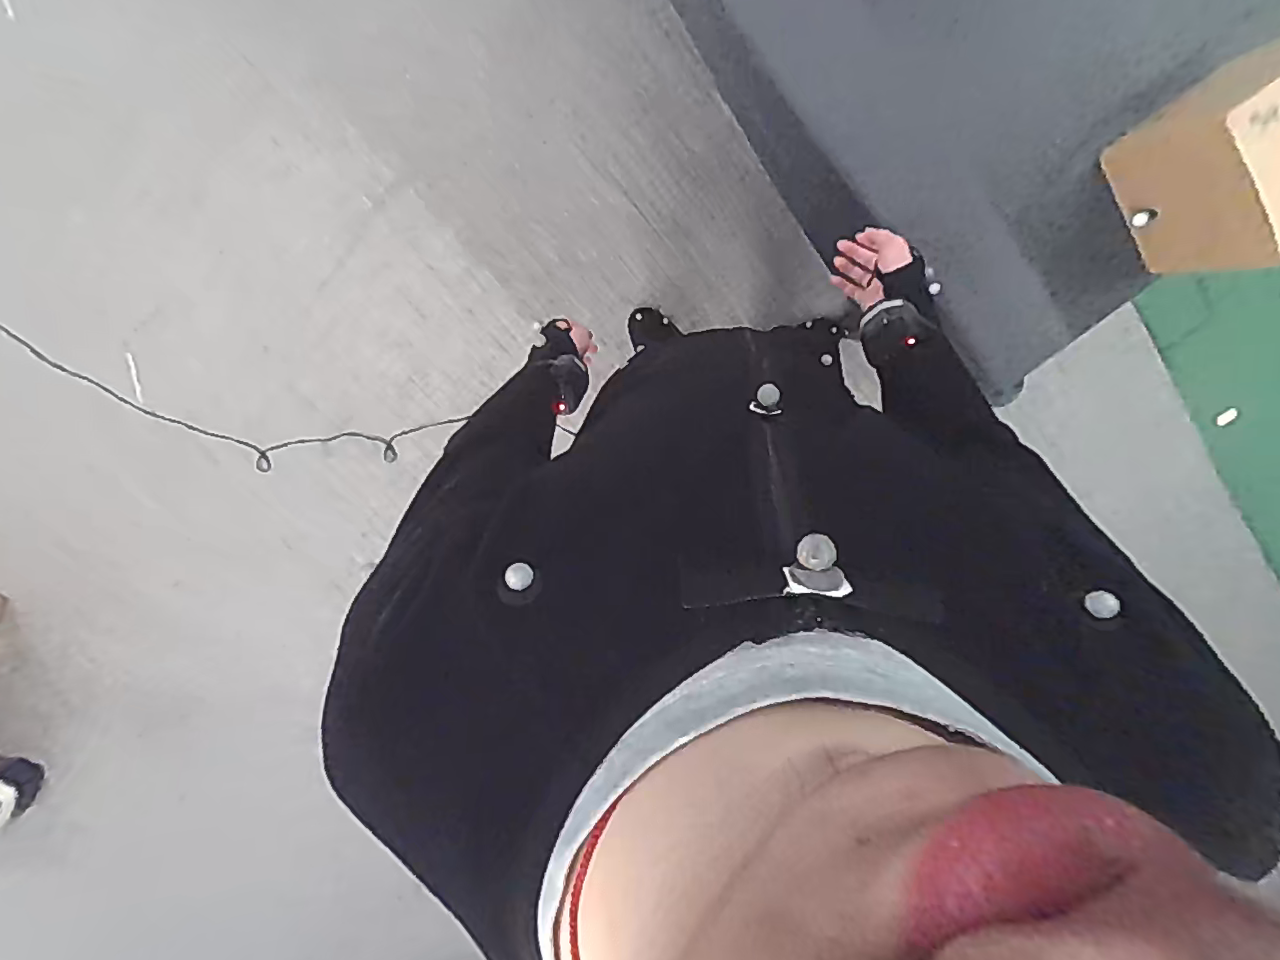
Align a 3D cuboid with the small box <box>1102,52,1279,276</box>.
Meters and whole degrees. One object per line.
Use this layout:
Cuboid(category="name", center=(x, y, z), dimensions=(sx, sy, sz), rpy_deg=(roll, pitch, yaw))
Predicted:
Cuboid(category="small box", center=(0.685, -0.354, 0.606), dimensions=(0.168, 0.176, 0.179), rpy_deg=(-35, 105, 13))
